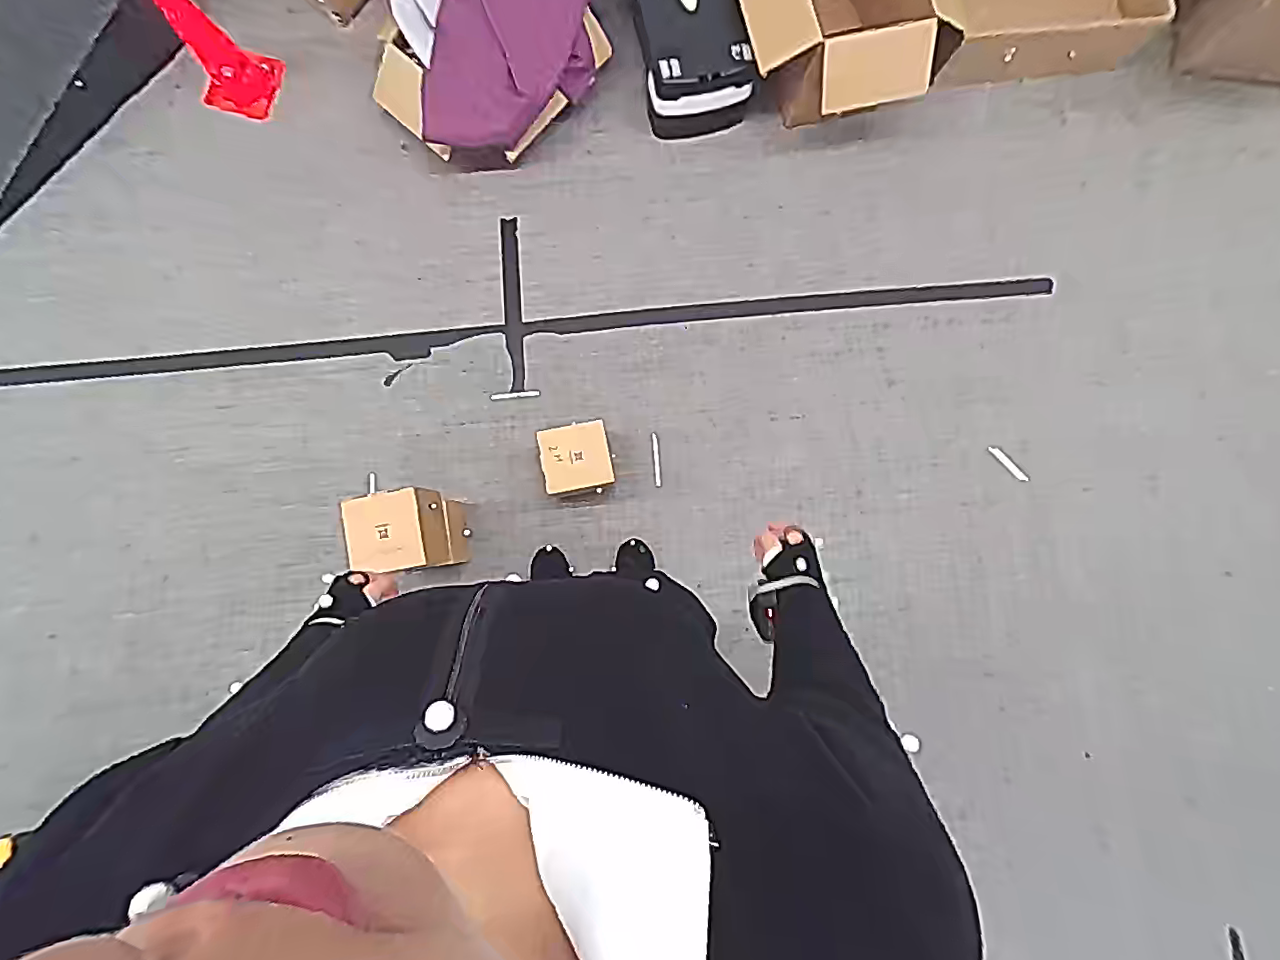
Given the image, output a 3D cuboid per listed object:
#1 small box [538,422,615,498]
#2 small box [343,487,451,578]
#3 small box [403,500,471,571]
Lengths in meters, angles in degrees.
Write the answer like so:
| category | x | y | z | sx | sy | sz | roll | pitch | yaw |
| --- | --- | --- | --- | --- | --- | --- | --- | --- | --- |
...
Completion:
| category | x | y | z | sx | sy | sz | roll | pitch | yaw |
| --- | --- | --- | --- | --- | --- | --- | --- | --- | --- |
| small box | -0.165 | -0.048 | 1.451 | 0.179 | 0.176 | 0.168 | -11 | 85 | -2 |
| small box | -0.558 | 0.121 | 1.261 | 0.168 | 0.176 | 0.179 | -11 | 86 | -1 |
| small box | -0.560 | 0.148 | 1.421 | 0.179 | 0.176 | 0.168 | -8 | 85 | -2 |
